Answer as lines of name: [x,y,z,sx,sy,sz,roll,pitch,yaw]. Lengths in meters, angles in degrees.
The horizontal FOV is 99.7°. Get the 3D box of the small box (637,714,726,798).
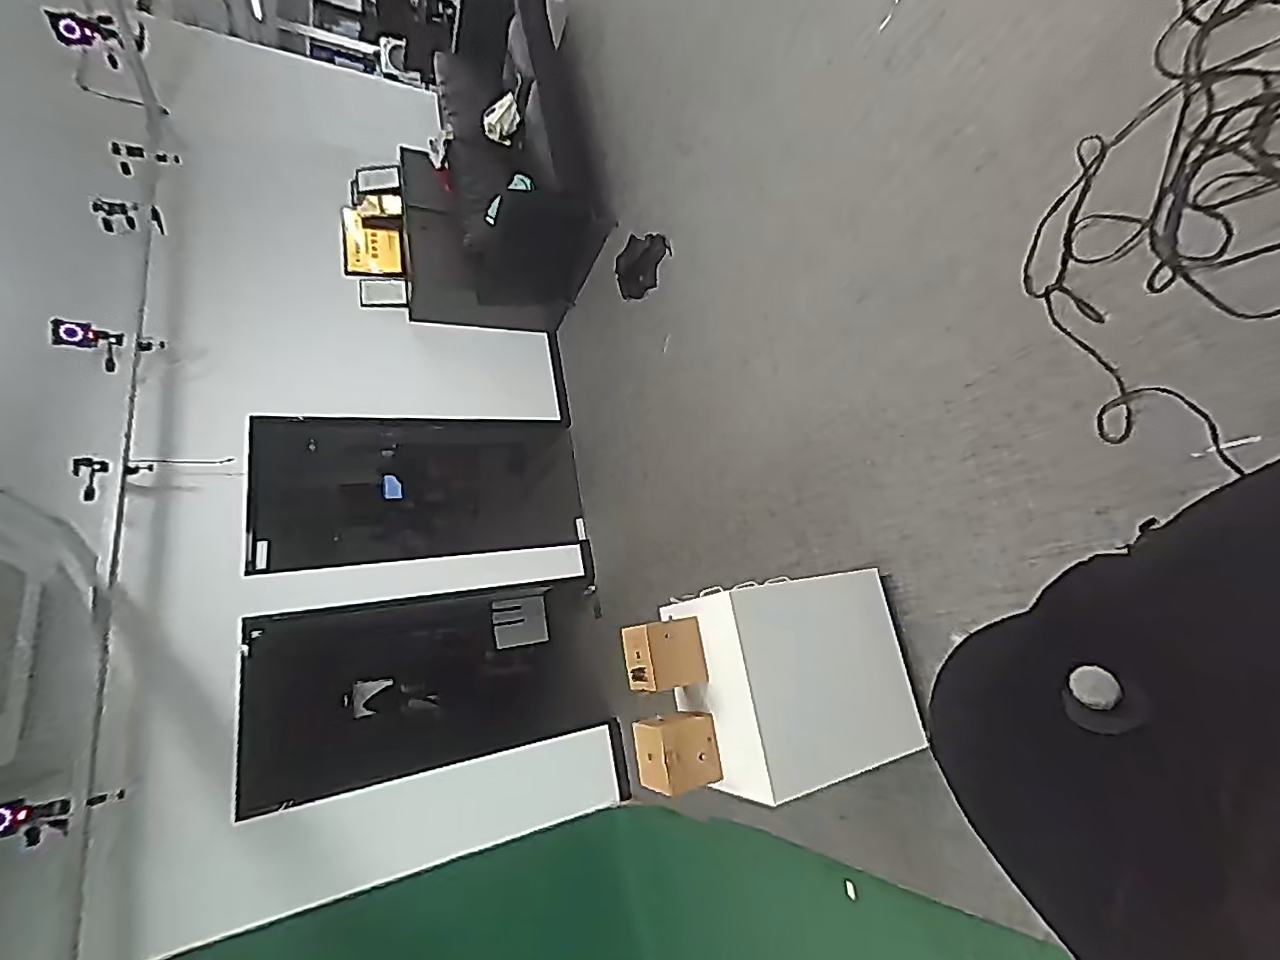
small box: [0.111,0.748,1.484,0.179,0.176,0.168,-36,59,57]
